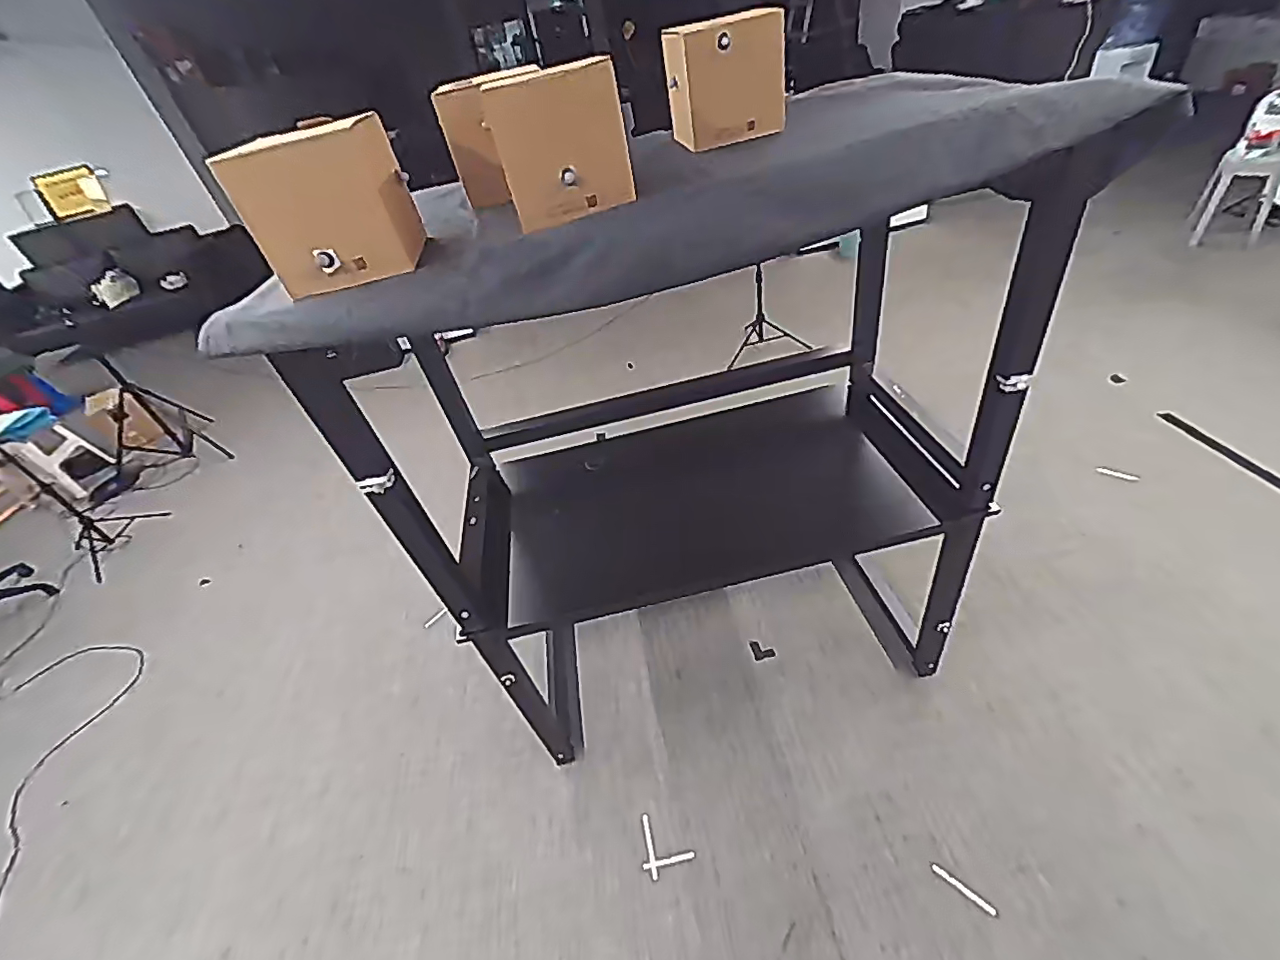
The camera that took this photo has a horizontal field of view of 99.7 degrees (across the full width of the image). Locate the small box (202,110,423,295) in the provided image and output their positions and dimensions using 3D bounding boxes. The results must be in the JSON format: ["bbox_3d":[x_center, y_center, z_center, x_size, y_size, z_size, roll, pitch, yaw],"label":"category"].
[{"bbox_3d":[-0.402,-0.362,0.706,0.168,0.176,0.179,-16,40,-2],"label":"small box"}]

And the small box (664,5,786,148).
[{"bbox_3d":[0.146,-0.698,0.945,0.168,0.176,0.179,-15,40,-1],"label":"small box"}]
